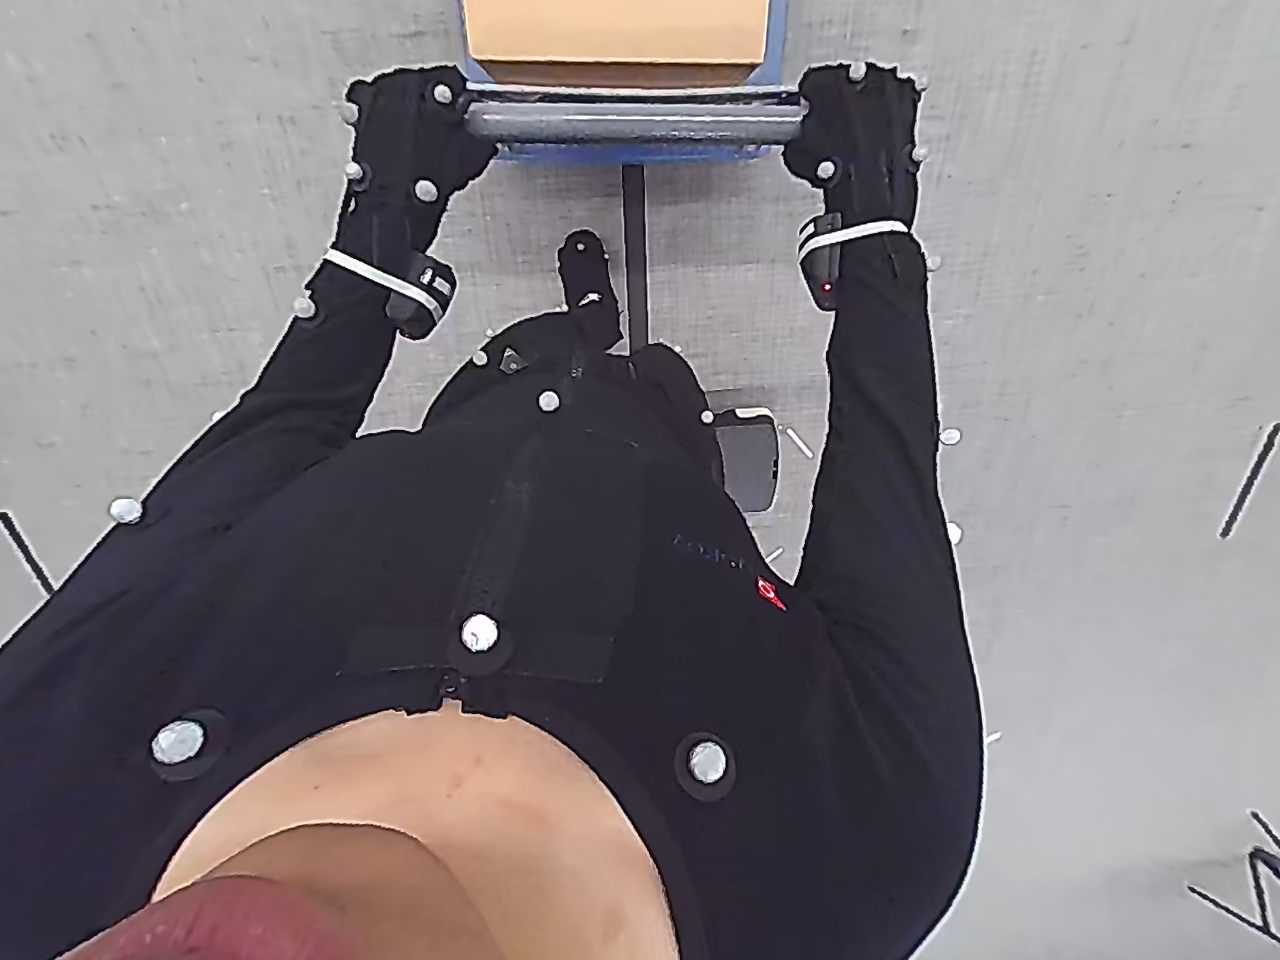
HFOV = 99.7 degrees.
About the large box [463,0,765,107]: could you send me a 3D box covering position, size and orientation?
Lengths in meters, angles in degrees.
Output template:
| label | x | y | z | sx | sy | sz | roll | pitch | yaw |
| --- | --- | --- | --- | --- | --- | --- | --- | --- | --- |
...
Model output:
| label | x | y | z | sx | sy | sz | roll | pitch | yaw |
| --- | --- | --- | --- | --- | --- | --- | --- | --- | --- |
| large box | -0.043 | -0.766 | 0.802 | 0.408 | 0.320 | 0.320 | -2 | 118 | -3 |
